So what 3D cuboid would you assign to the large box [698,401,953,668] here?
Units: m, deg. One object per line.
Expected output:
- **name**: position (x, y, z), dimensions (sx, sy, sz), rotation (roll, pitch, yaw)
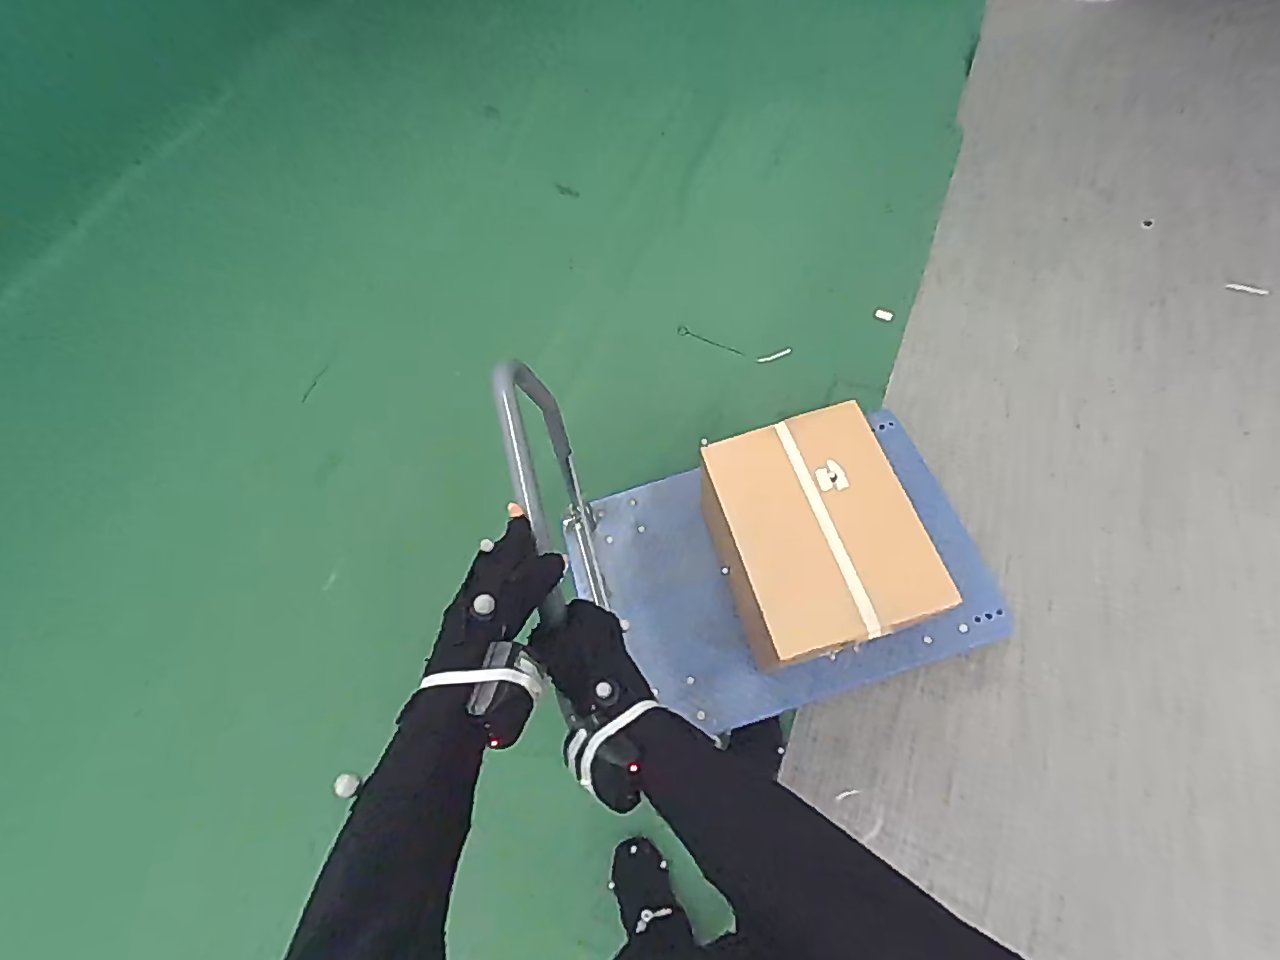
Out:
- **large box**: position (0.330, 0.123, 1.091), dimensions (0.320, 0.320, 0.408), rotation (-17, 65, -1)
